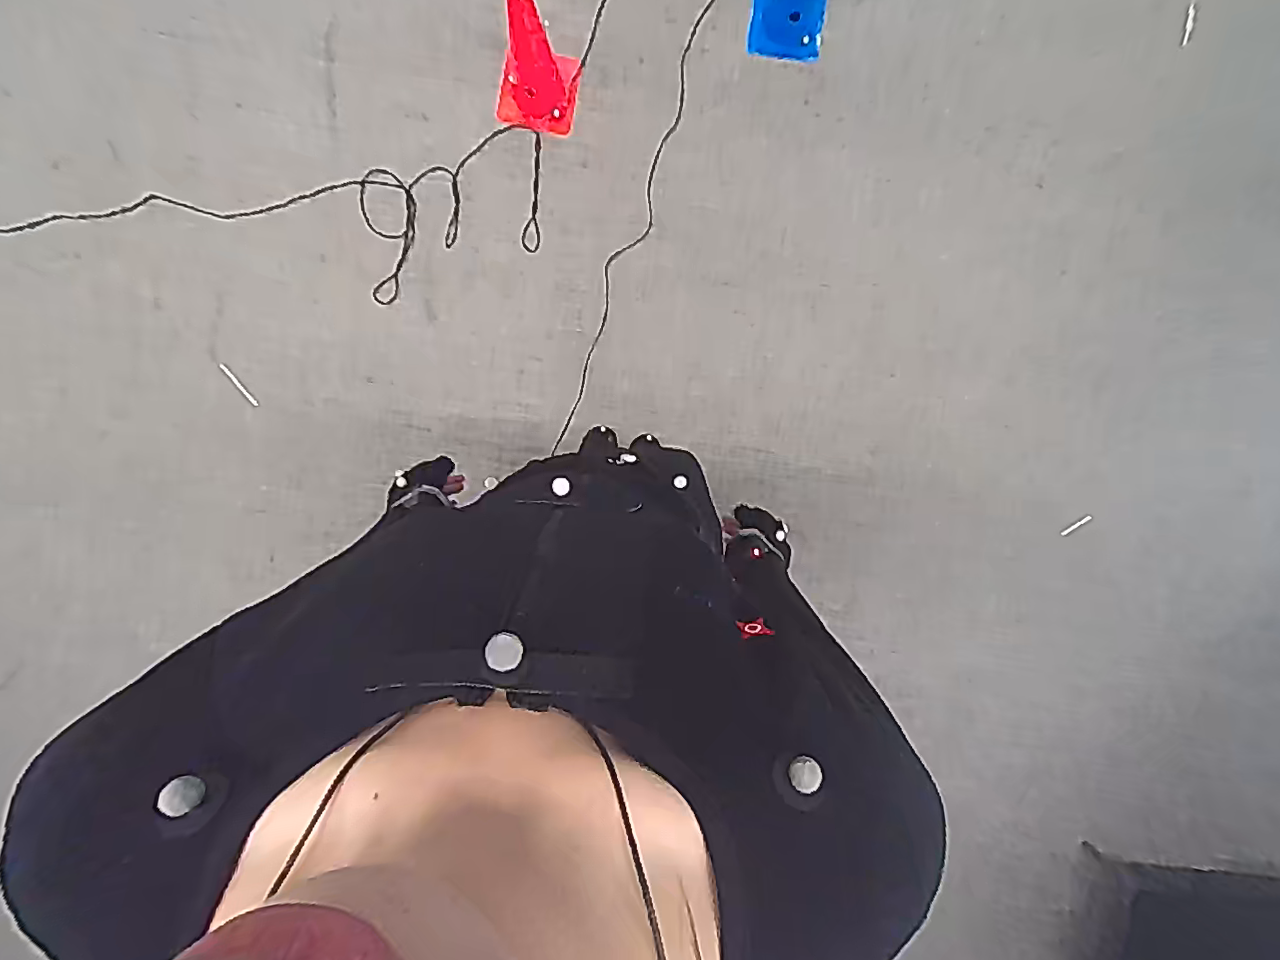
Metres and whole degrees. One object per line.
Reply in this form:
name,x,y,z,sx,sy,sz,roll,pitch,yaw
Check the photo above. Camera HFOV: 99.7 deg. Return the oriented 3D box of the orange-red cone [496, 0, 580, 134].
orange-red cone,-0.259,-1.022,1.255,0.198,0.360,0.199,12,92,-4
